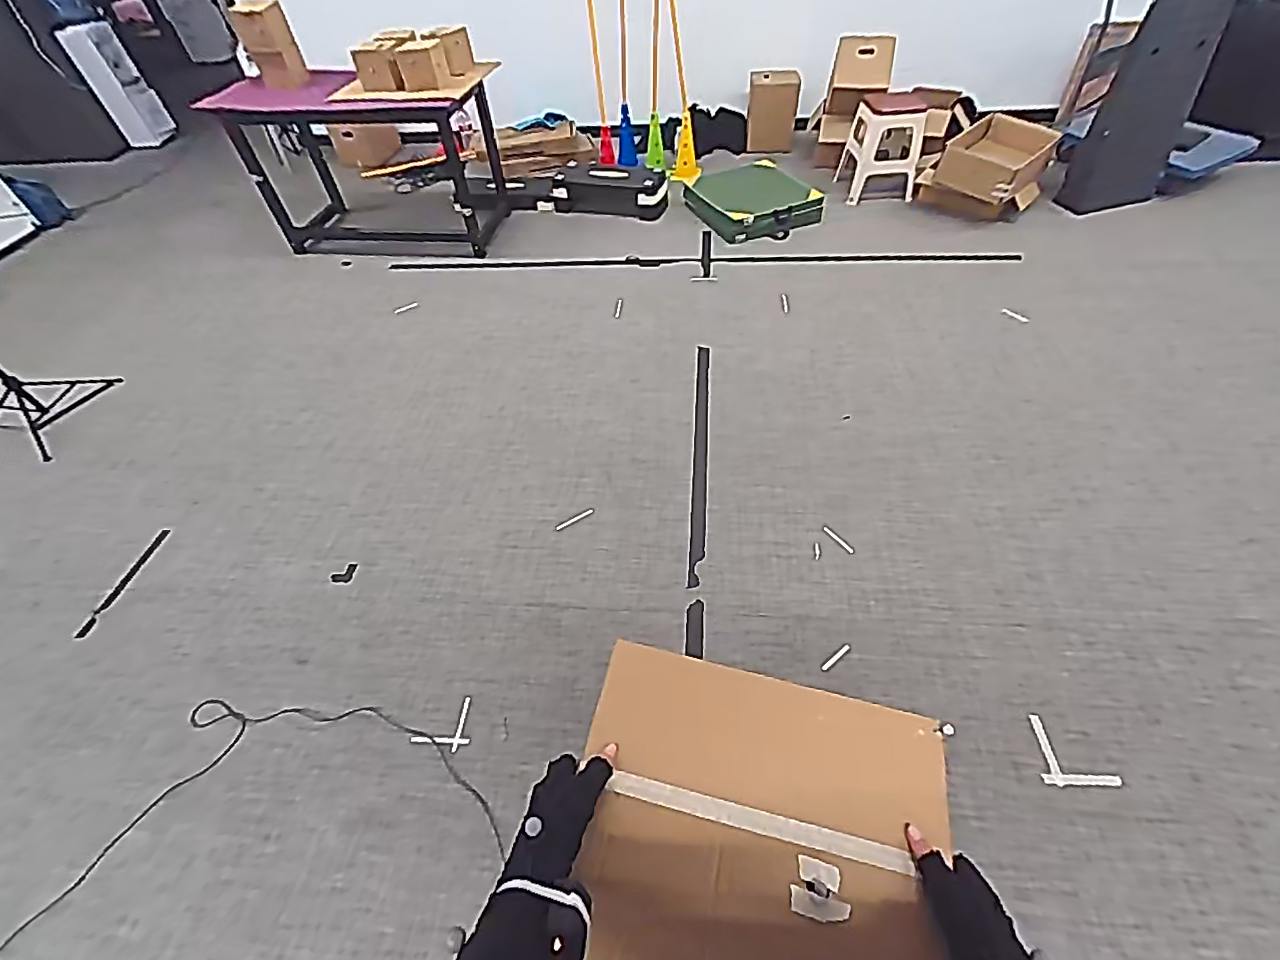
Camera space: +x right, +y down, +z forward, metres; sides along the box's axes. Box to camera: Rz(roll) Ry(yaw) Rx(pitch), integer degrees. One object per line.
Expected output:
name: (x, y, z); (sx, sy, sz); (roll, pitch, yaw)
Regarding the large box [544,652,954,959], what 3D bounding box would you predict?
large box: (0.126, 0.467, 0.709); (0.408, 0.320, 0.320); (12, 55, 7)
